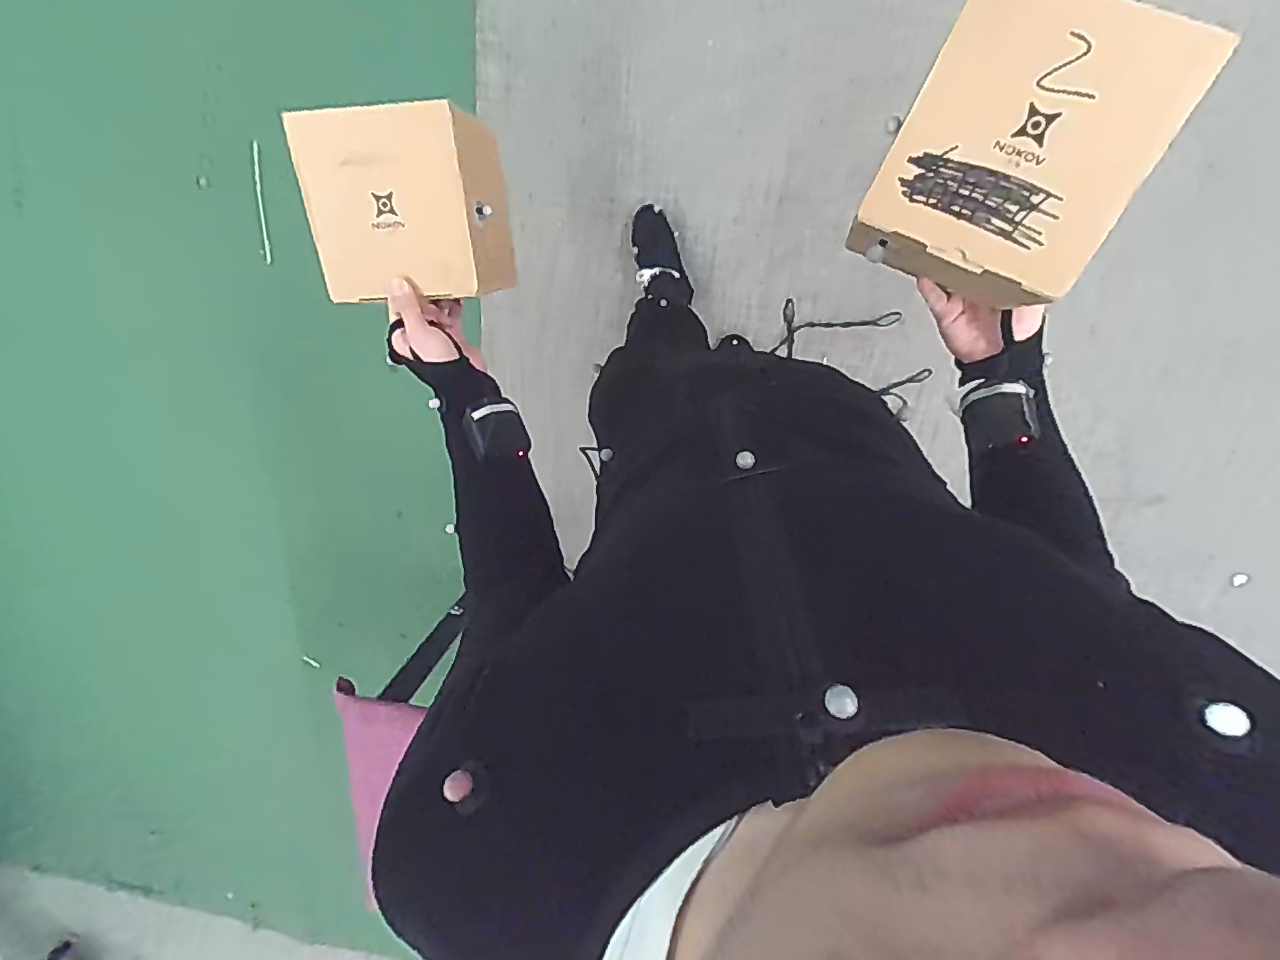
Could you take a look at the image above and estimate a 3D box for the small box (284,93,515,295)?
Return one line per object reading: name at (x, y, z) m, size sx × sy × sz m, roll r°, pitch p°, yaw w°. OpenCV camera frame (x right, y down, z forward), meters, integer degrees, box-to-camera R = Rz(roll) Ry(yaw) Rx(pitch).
small box at (-0.249, -0.310, 0.611) m, size 0.168 × 0.176 × 0.179 m, roll 0°, pitch 112°, yaw 4°
